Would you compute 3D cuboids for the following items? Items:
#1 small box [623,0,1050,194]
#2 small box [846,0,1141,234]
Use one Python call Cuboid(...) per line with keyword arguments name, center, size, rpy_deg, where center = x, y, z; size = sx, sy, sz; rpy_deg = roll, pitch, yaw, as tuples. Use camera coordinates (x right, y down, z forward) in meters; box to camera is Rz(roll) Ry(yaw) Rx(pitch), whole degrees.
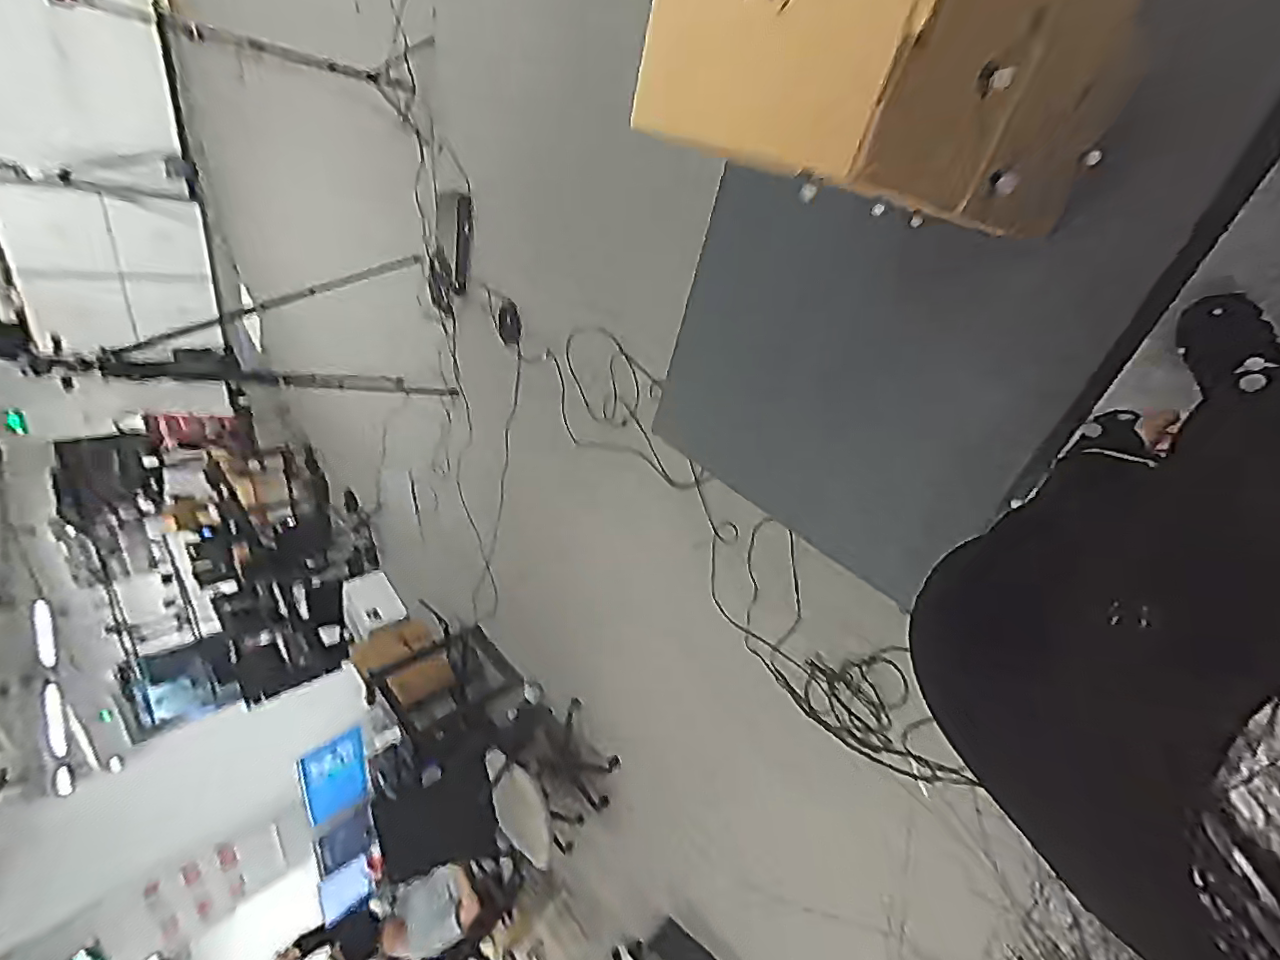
Cuboid(name="small box", center=(0.121, -0.287, 0.328), size=(0.179, 0.176, 0.168), rpy_deg=(37, 127, 34))
Cuboid(name="small box", center=(0.351, -0.361, 0.549), size=(0.179, 0.176, 0.168), rpy_deg=(39, 128, 32))
